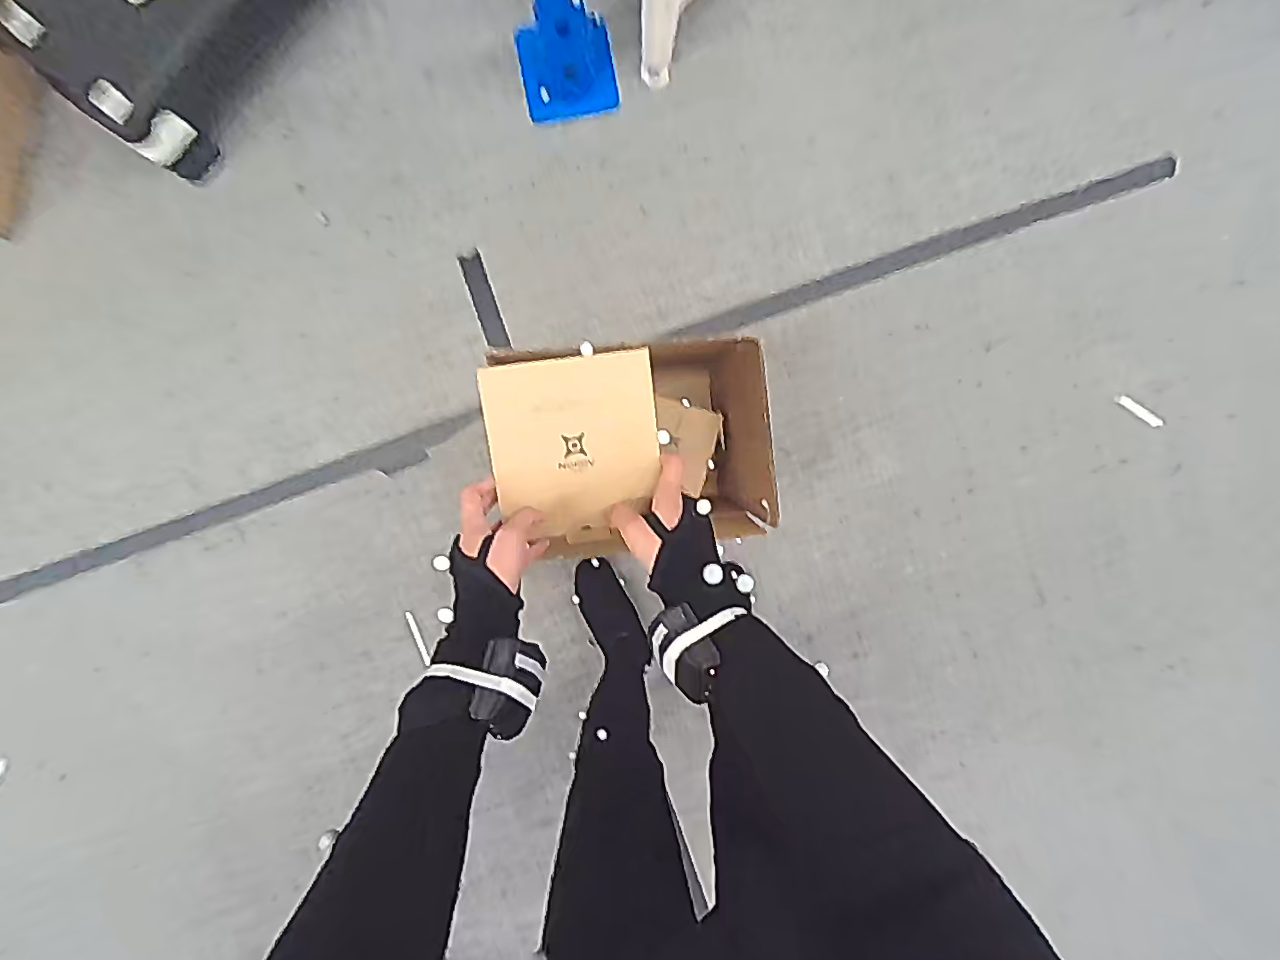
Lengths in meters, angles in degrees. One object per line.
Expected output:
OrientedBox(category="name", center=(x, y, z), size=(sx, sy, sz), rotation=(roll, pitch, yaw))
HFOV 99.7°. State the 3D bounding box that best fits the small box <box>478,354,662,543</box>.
OrientedBox(category="small box", center=(-0.067, -0.044, 0.603), size=(0.168, 0.176, 0.179), rotation=(-6, 101, -2))
